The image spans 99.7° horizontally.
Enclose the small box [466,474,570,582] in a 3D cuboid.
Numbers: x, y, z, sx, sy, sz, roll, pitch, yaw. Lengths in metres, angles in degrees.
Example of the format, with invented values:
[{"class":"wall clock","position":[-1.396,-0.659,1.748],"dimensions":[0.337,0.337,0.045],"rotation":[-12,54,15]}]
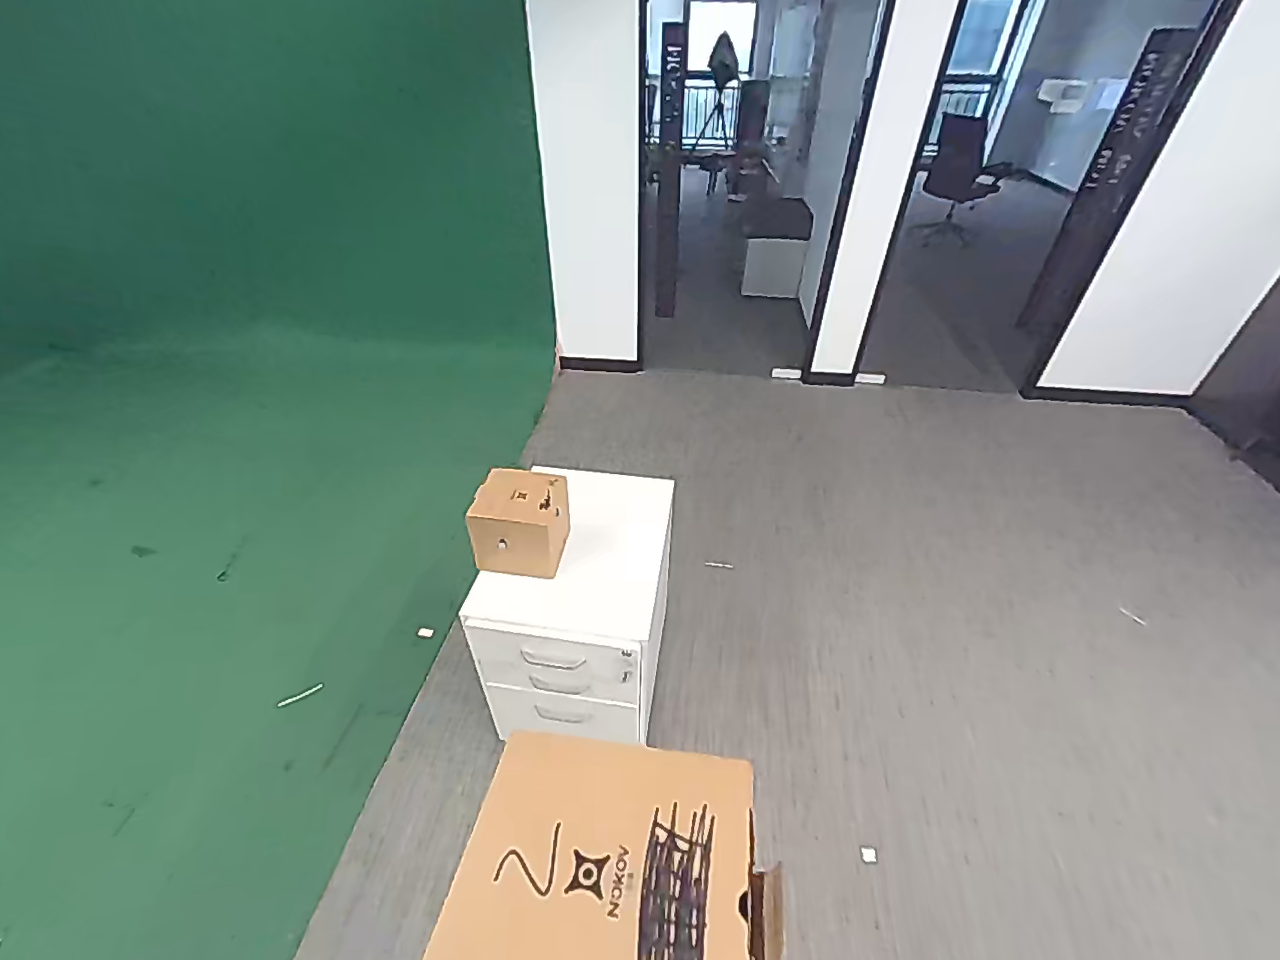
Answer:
[{"class":"small box","position":[-0.263,0.108,1.205],"dimensions":[0.179,0.176,0.168],"rotation":[6,39,5]}]
